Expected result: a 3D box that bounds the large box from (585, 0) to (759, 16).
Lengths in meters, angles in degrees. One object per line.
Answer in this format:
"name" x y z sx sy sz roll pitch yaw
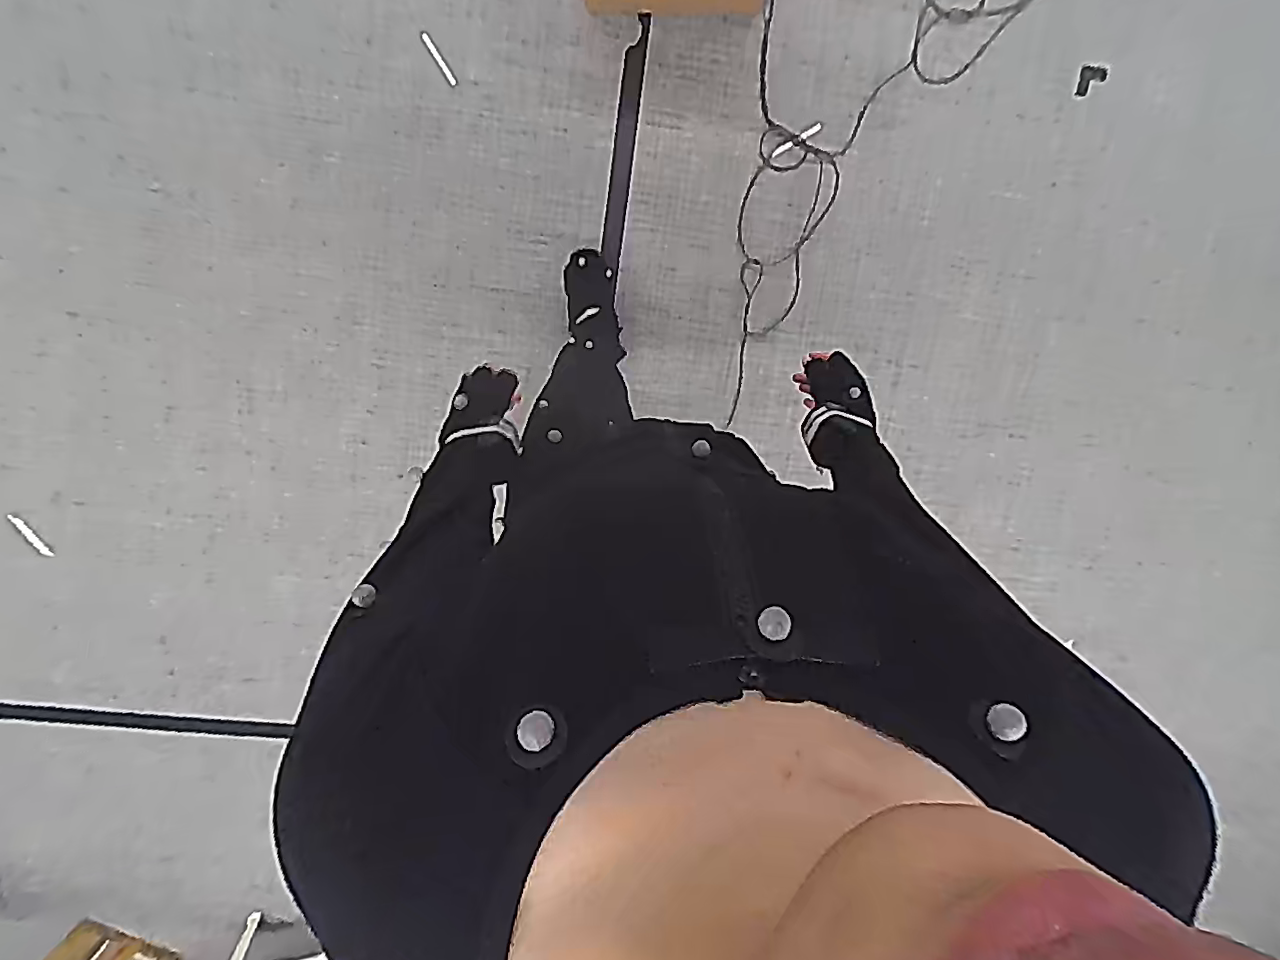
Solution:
"large box" 0.078 -1.209 1.093 0.408 0.320 0.320 -1 101 -4
